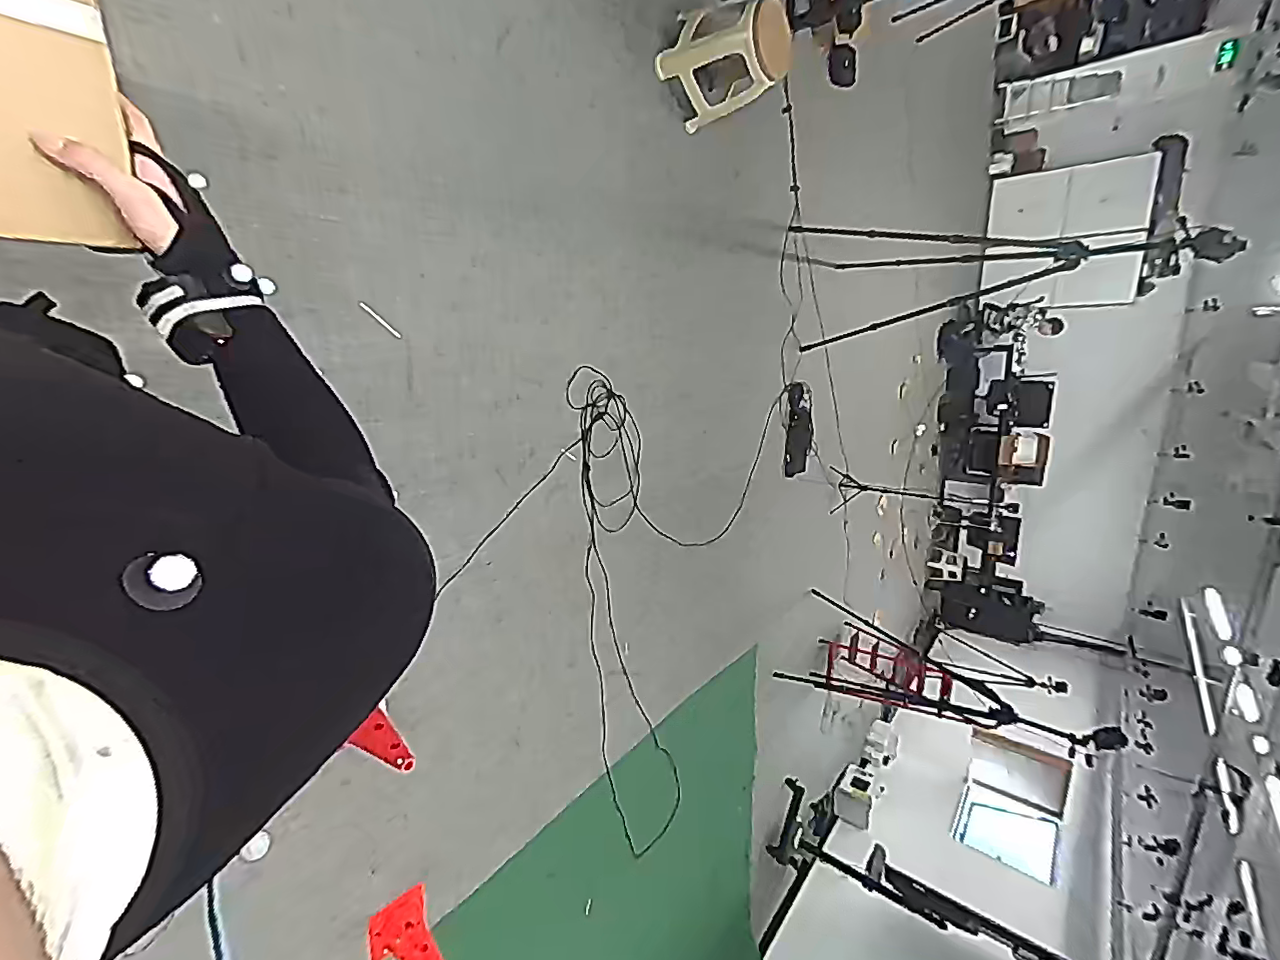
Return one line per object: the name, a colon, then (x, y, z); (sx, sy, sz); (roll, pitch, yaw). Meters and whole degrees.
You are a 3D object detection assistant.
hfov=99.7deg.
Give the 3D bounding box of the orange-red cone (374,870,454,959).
orange-red cone: (-0.731, 1.571, 1.852); (0.199, 0.360, 0.198); (-9, 106, -51)
